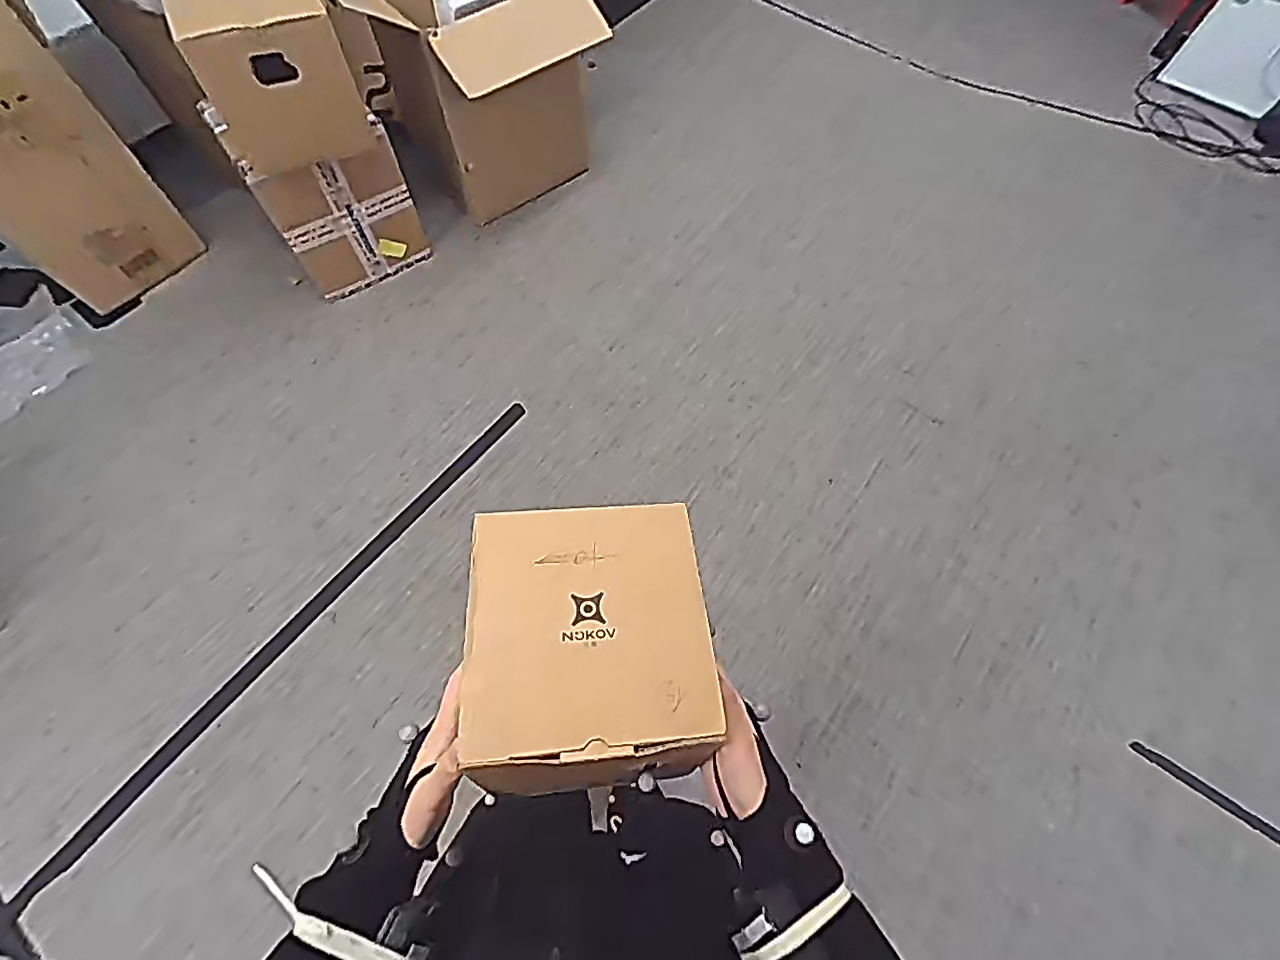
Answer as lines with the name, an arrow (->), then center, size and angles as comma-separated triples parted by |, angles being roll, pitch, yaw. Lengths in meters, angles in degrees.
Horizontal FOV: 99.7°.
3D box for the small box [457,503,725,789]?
small box -> -0.042, 0.139, 0.436 | 0.168, 0.176, 0.179 | -3, 54, -8
